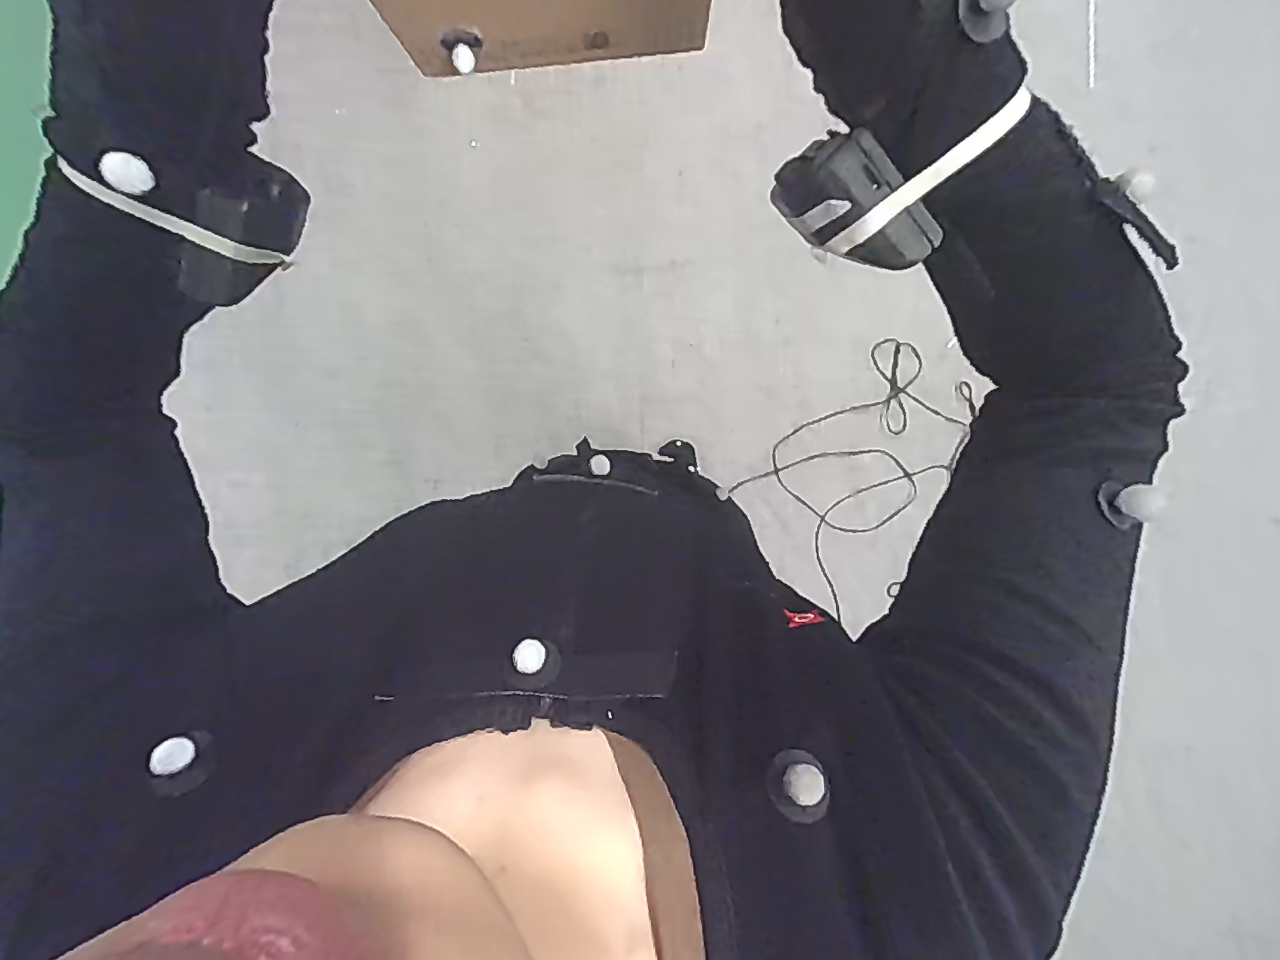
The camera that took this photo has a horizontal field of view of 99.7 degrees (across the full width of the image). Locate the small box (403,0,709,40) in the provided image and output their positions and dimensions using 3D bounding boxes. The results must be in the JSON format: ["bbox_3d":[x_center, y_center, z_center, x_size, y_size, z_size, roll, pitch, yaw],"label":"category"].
[{"bbox_3d":[-0.049,-0.319,0.216,0.168,0.176,0.179,-4,97,2],"label":"small box"}]
